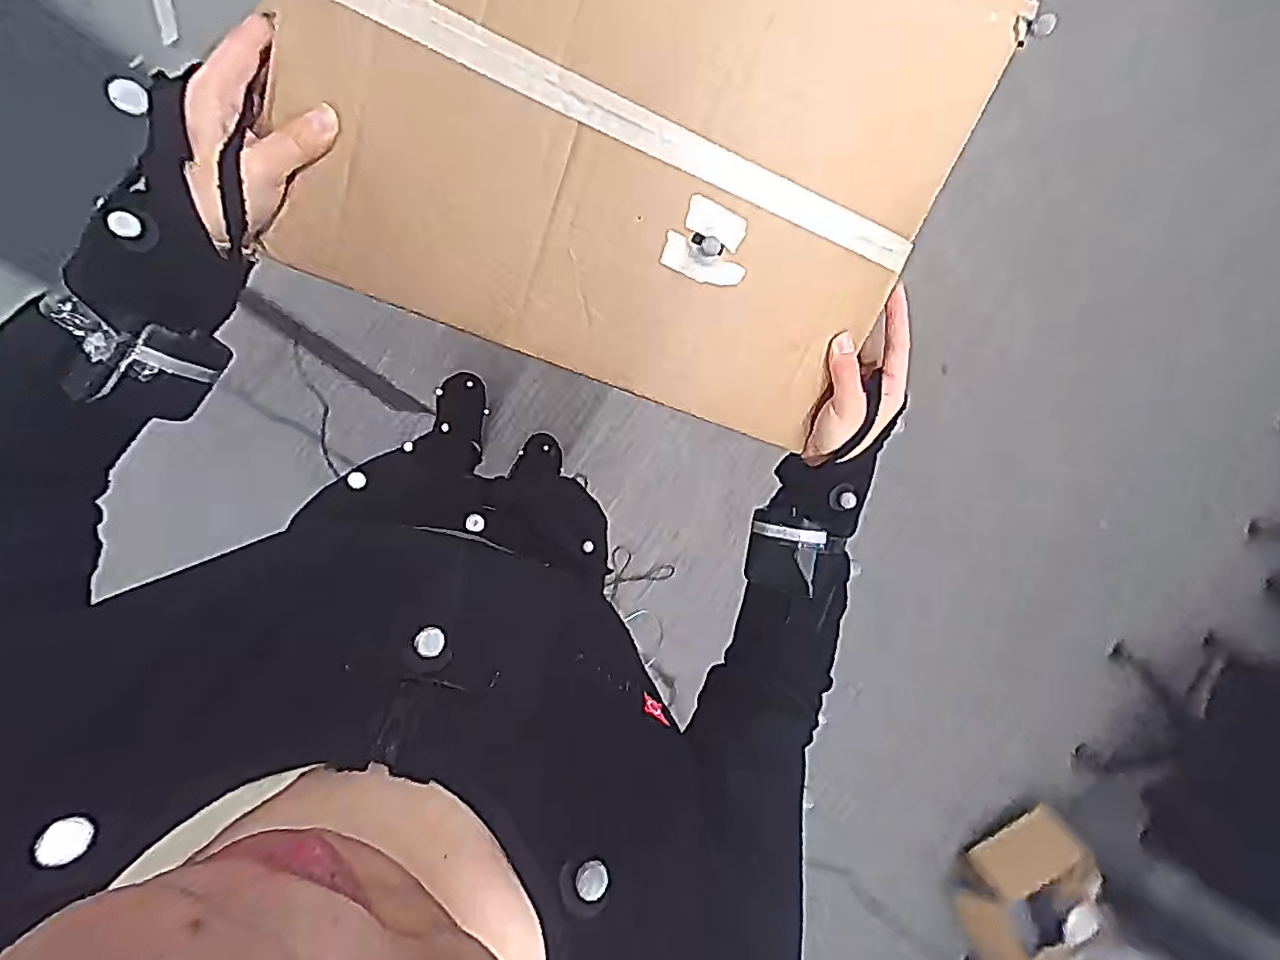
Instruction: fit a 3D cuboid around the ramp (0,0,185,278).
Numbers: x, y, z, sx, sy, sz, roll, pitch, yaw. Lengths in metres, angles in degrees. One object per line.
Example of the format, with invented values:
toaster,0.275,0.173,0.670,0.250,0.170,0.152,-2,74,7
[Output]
ramp,-1.457,-0.881,0.943,0.991,0.206,0.509,34,91,-14
